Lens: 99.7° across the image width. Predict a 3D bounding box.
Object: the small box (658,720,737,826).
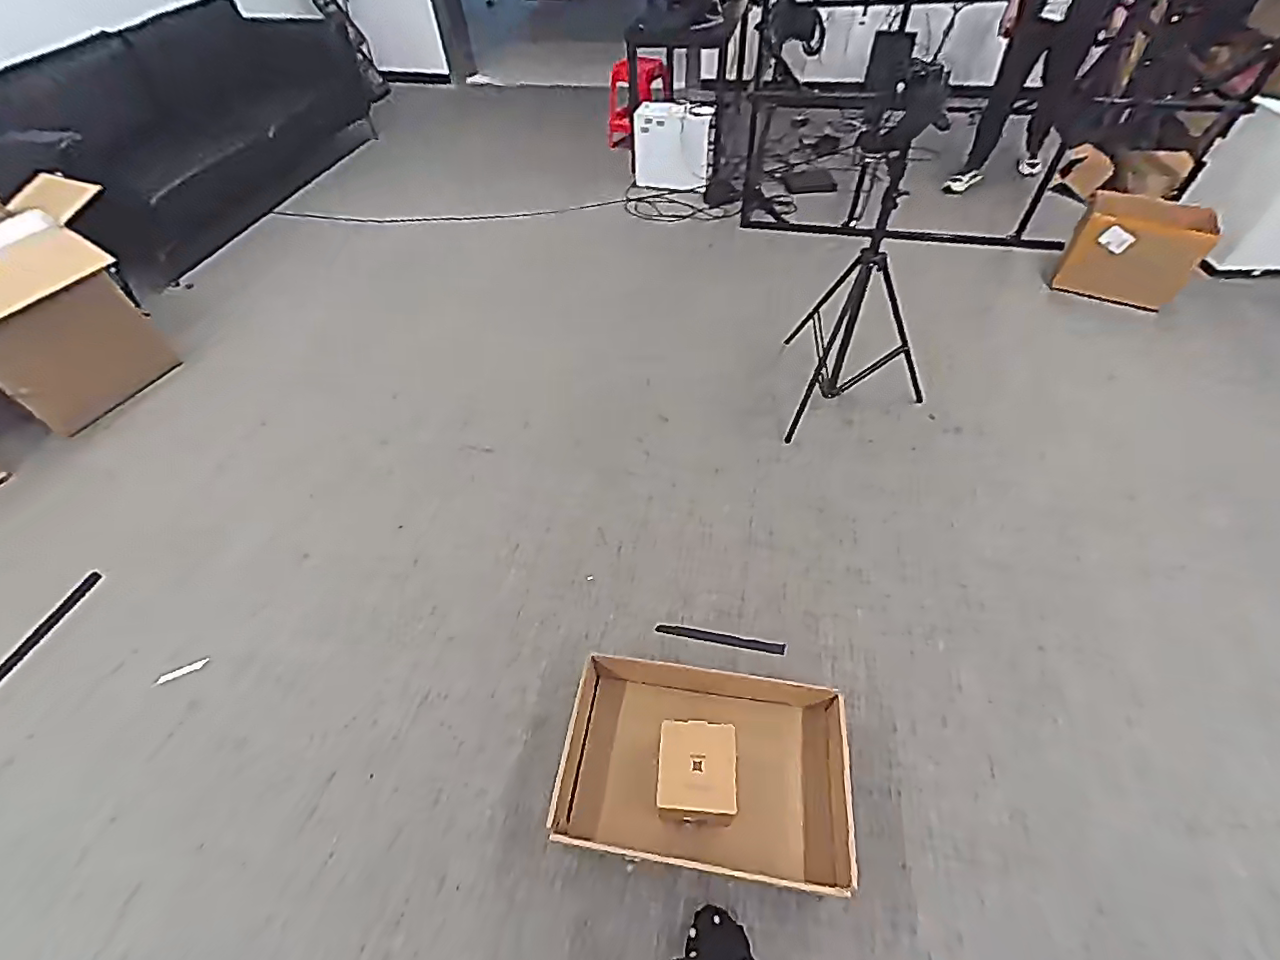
[{"bbox_3d":[0.126,0.660,1.217,0.168,0.176,0.179,1,51,5],"label":"small box"}]
